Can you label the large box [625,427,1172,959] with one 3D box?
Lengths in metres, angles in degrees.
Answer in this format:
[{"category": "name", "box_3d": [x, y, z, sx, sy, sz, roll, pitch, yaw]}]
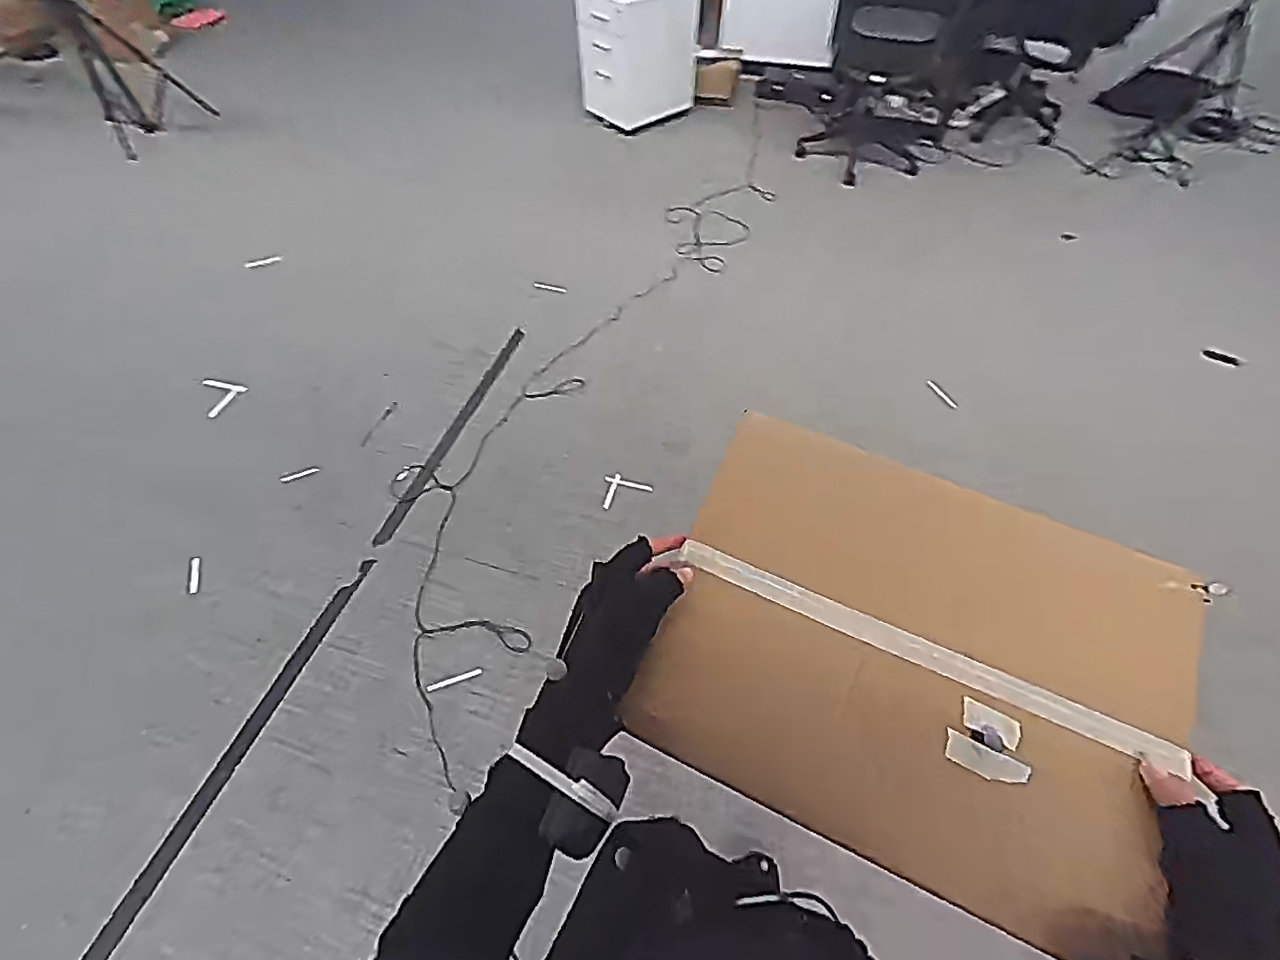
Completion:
[{"category": "large box", "box_3d": [0.231, 0.197, 0.600, 0.408, 0.320, 0.320, 22, 72, 11]}]
